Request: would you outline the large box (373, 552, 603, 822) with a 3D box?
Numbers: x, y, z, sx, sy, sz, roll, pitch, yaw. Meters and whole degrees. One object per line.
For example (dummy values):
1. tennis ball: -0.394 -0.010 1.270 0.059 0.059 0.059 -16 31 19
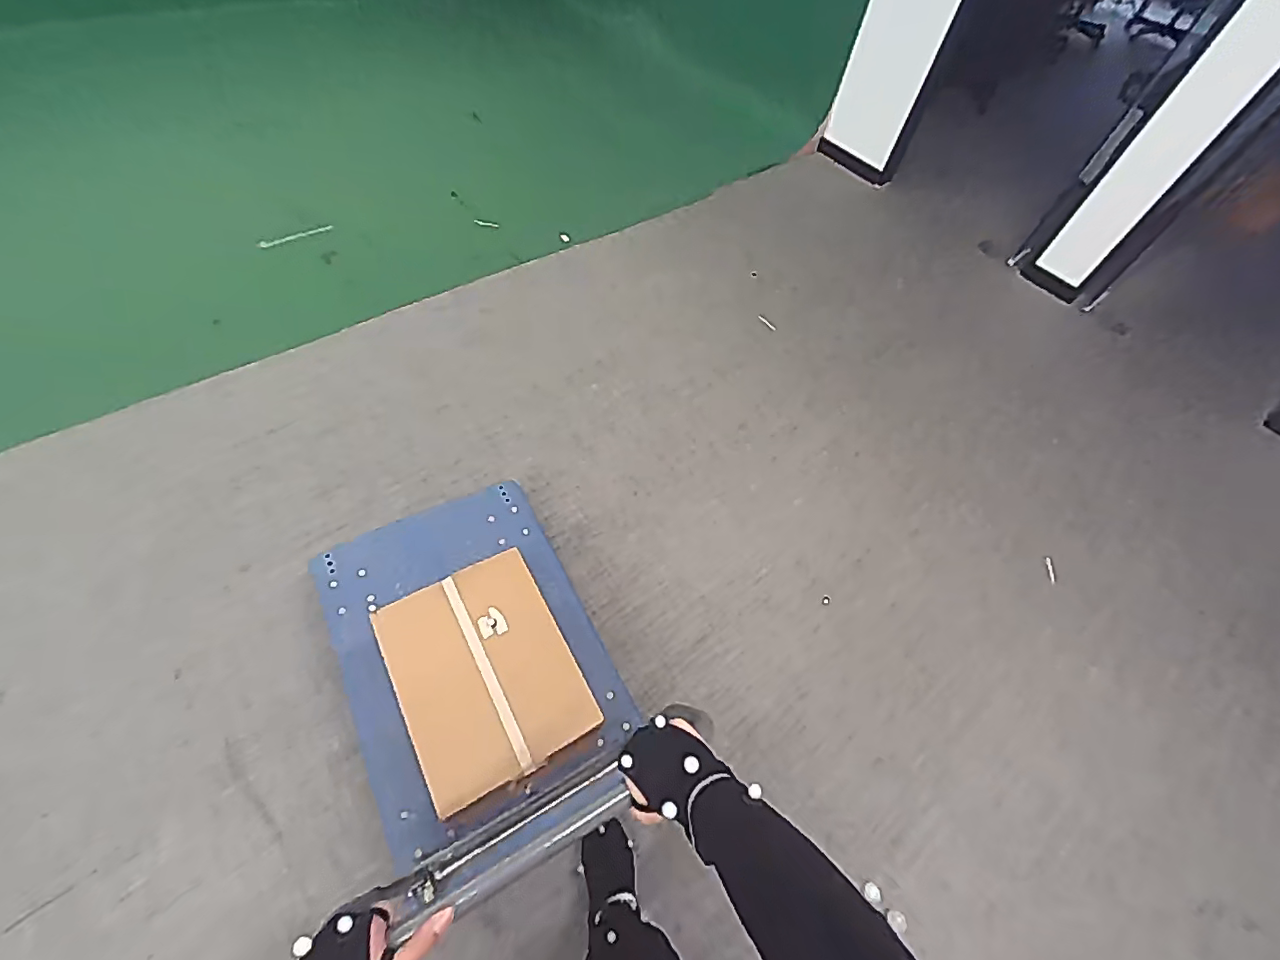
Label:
1. large box: -0.308 0.439 1.154 0.320 0.320 0.408 -24 62 -21
